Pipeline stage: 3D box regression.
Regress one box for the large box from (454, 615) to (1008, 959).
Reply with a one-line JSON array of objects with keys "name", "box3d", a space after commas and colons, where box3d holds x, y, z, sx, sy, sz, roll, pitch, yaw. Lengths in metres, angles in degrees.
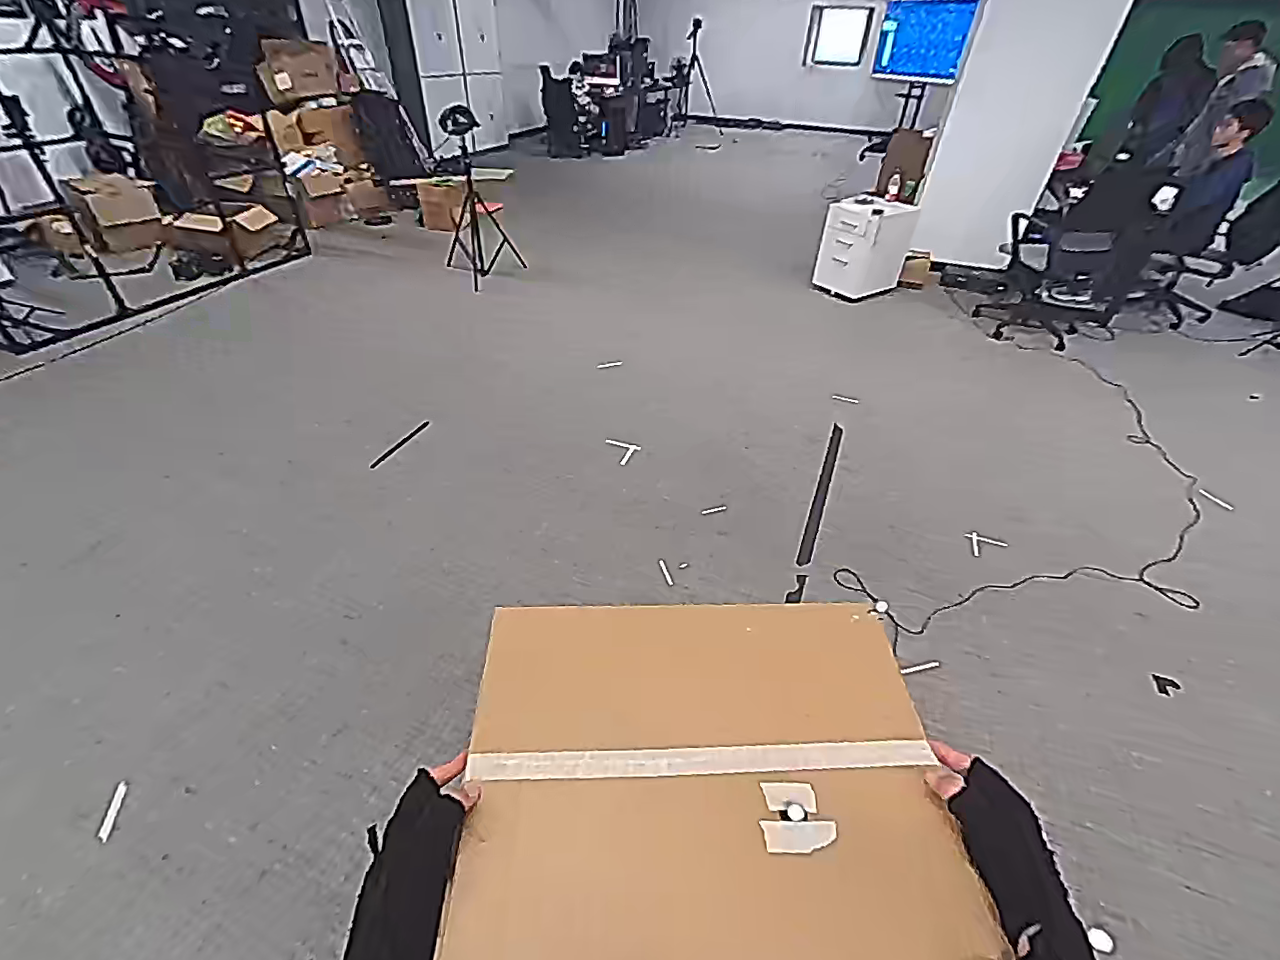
[{"name": "large box", "box3d": [0.056, 0.361, 0.575, 0.408, 0.320, 0.320, 1, 45, -2]}]
